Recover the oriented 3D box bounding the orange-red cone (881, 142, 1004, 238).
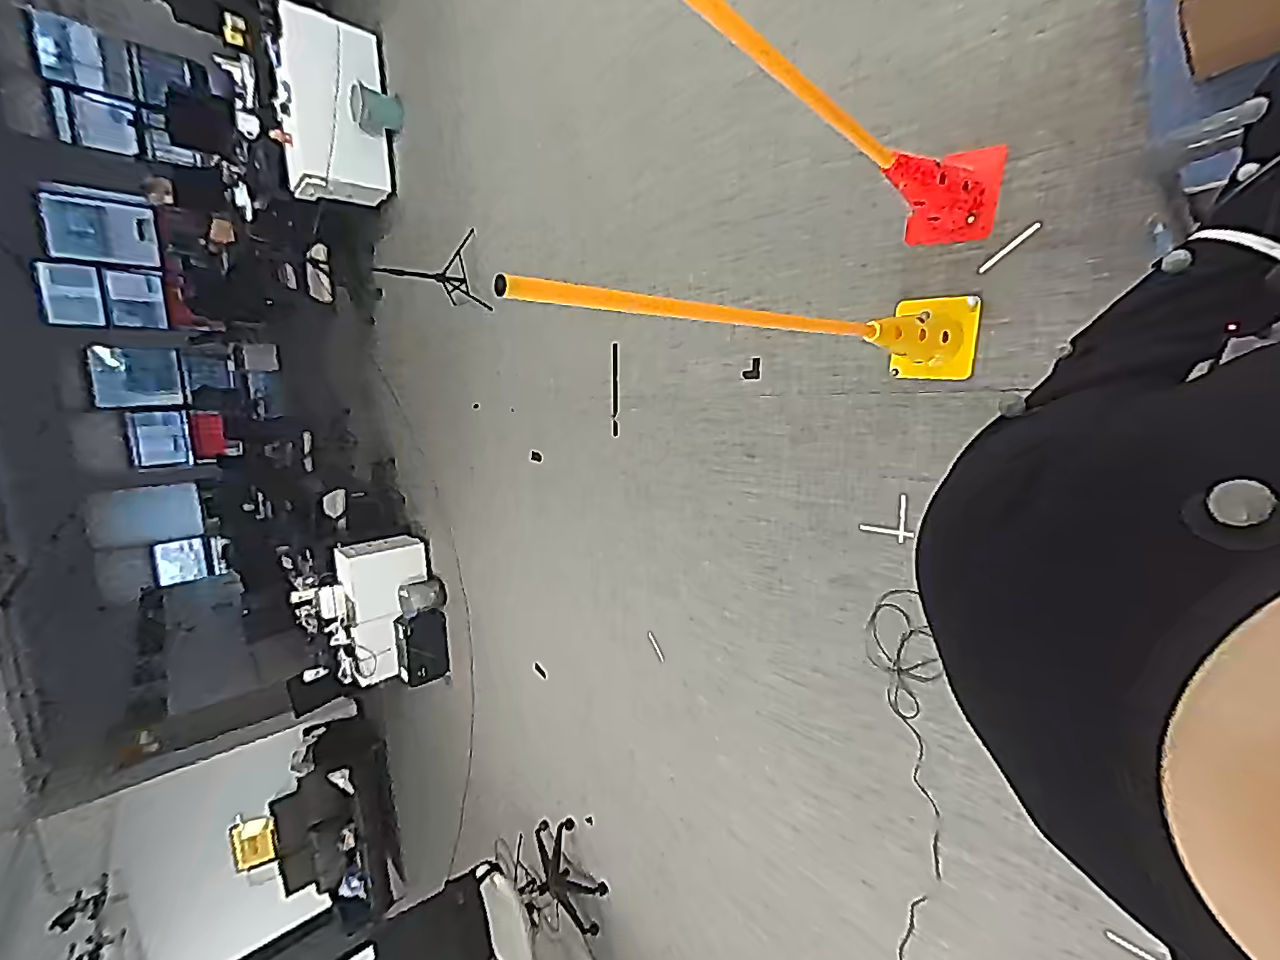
[{"bbox_3d":[0.619,-0.668,1.181,0.198,0.360,0.199,20,111,44],"label":"orange-red cone"}]

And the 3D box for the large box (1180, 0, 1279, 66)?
[{"bbox_3d":[0.903,-0.785,0.611,0.408,0.320,0.320,0,99,49],"label":"large box"}]
